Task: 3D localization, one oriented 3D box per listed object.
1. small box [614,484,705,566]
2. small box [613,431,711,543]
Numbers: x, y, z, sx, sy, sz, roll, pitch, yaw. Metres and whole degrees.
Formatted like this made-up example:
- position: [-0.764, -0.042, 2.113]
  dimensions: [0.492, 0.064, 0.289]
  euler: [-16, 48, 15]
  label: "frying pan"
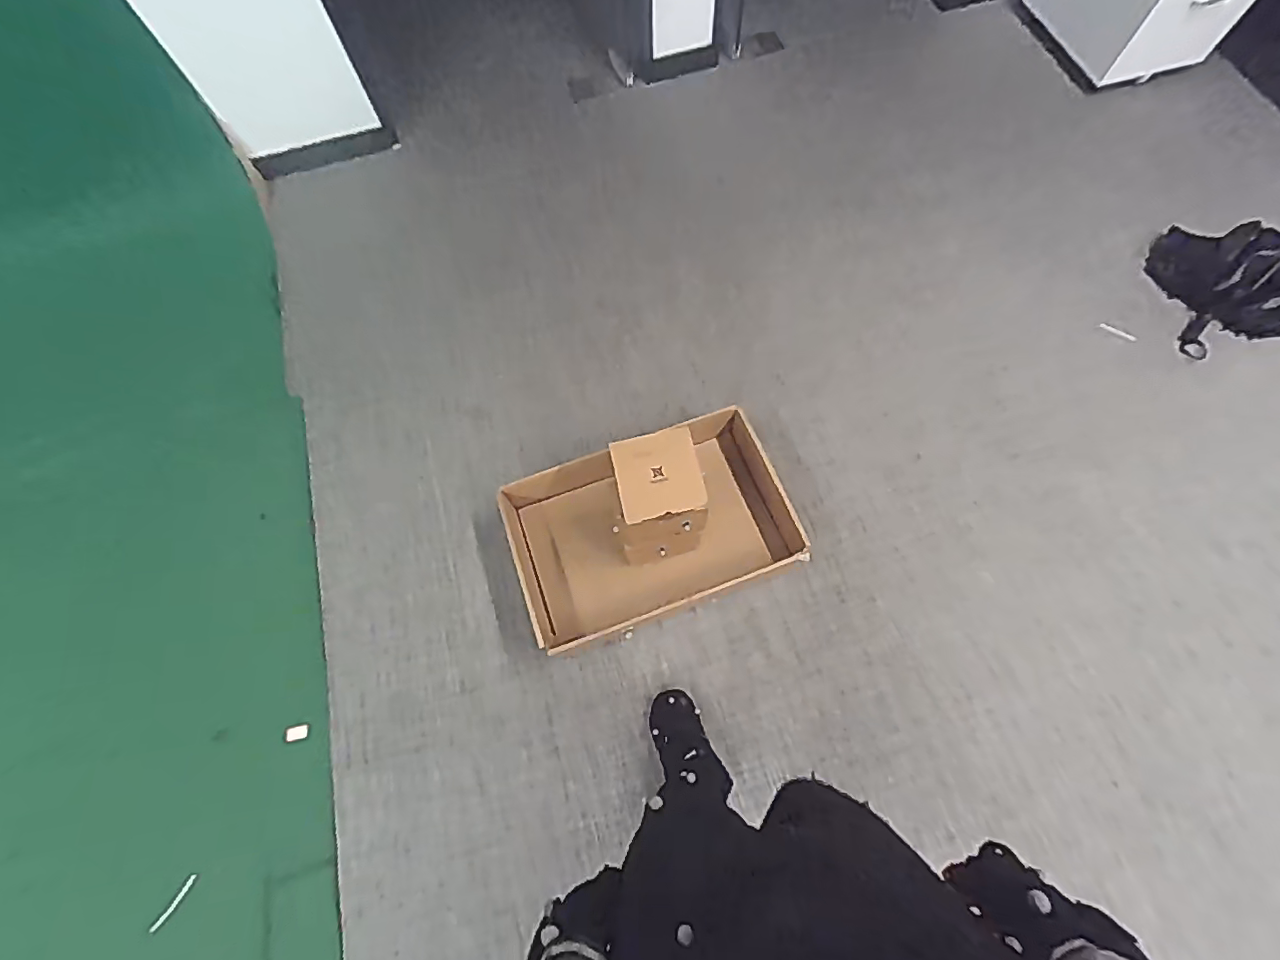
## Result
- position: [0.047, 0.094, 1.288]
  dimensions: [0.179, 0.176, 0.168]
  euler: [-14, 68, 0]
  label: "small box"
- position: [0.044, 0.024, 1.125]
  dimensions: [0.168, 0.176, 0.179]
  euler: [-12, 67, -3]
  label: "small box"
